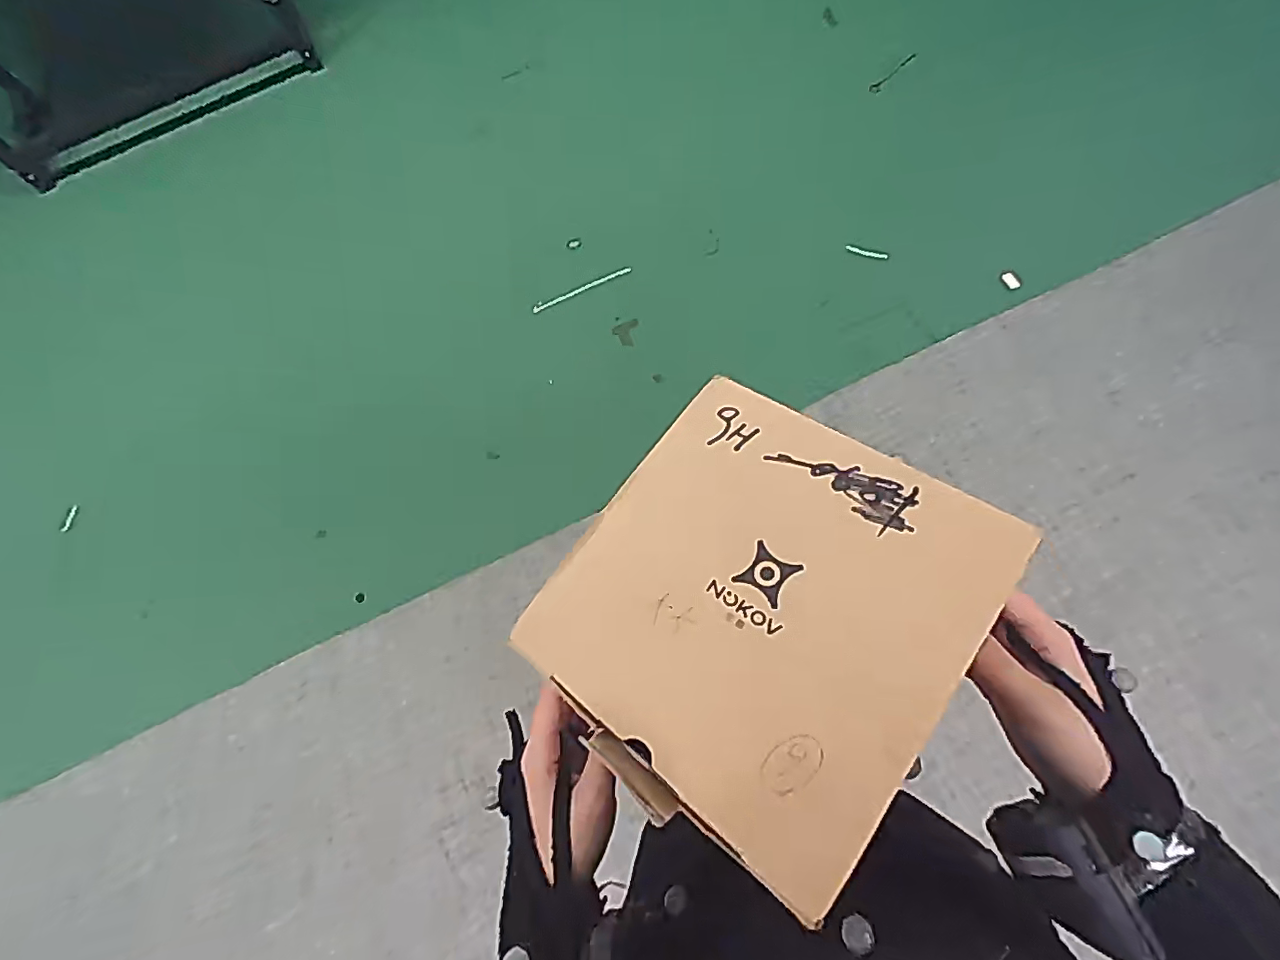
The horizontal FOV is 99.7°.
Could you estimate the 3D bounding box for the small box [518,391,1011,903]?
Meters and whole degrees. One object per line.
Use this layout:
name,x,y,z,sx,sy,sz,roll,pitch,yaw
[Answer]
small box,0.069,0.087,0.320,0.168,0.176,0.179,32,77,26
